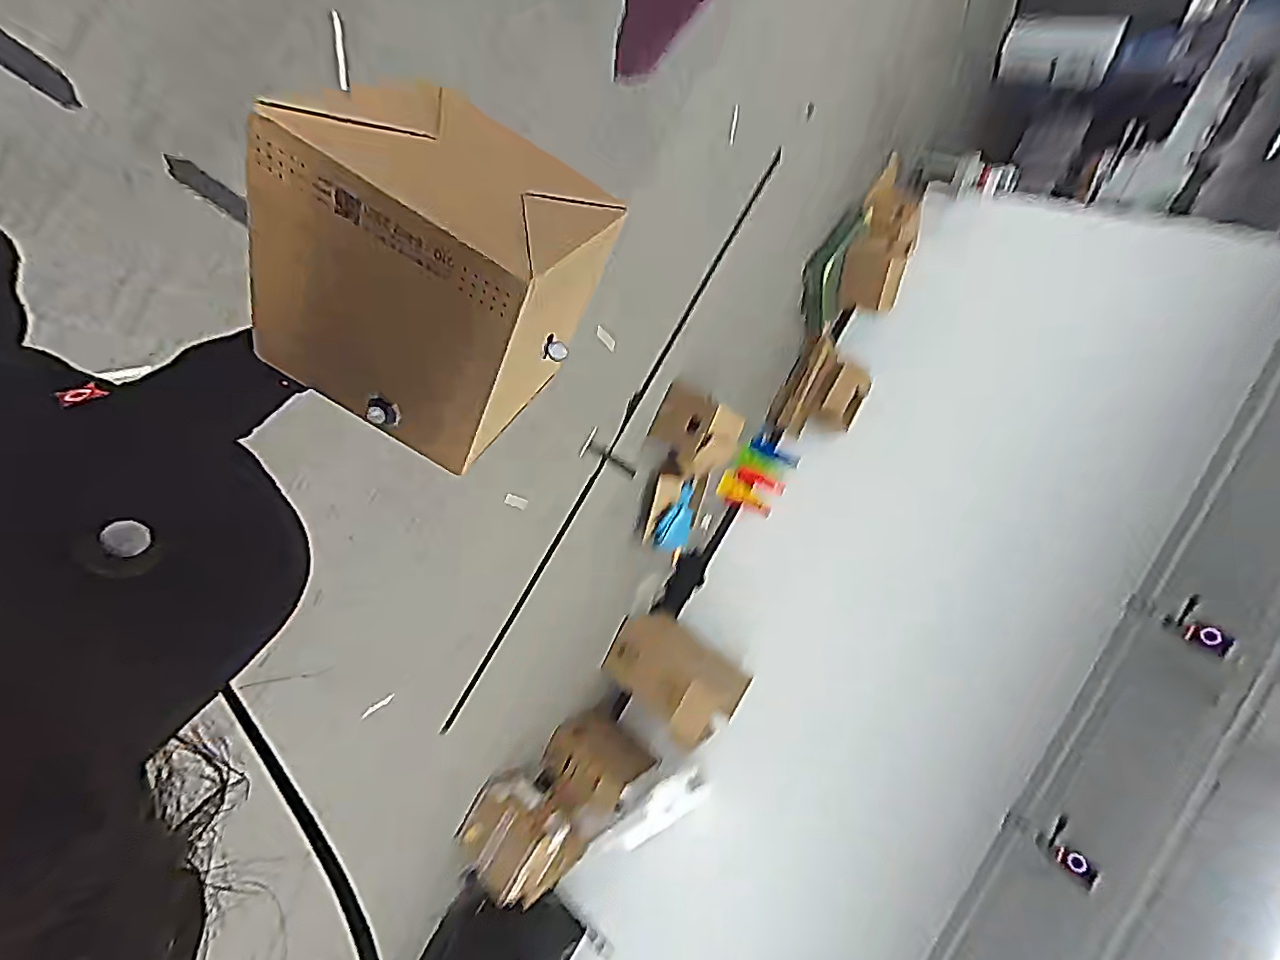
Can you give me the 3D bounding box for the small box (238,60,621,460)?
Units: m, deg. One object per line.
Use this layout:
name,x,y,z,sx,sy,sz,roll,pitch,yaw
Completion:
small box,-0.135,-0.154,0.377,0.176,0.168,0.179,-54,-173,43
